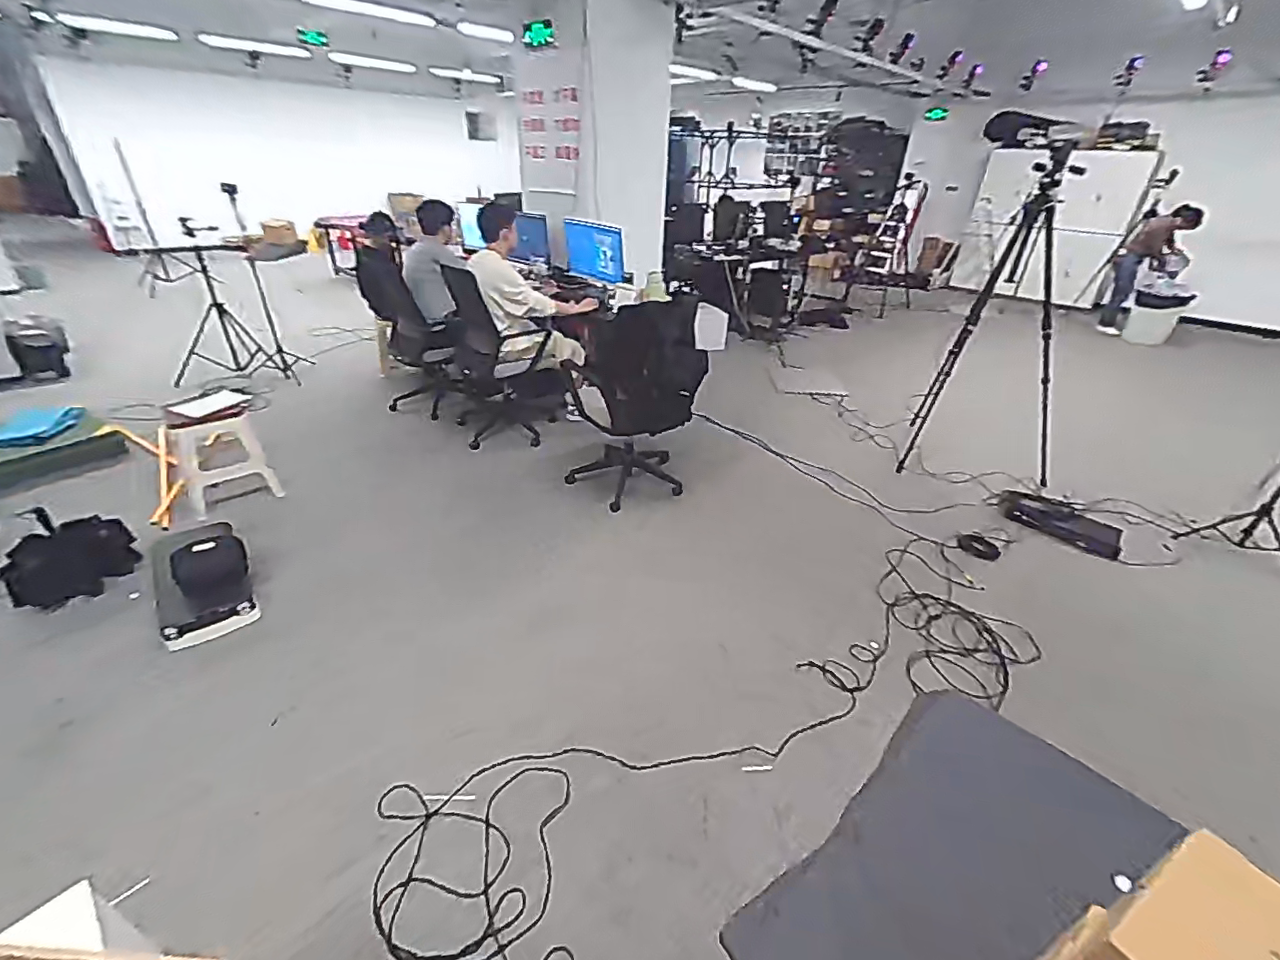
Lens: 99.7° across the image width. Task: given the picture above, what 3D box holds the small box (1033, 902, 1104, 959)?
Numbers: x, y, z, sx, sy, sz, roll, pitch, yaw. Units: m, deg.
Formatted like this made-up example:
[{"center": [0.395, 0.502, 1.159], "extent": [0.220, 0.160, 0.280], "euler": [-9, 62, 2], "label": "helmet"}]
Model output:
[{"center": [0.452, 0.567, 0.506], "extent": [0.168, 0.176, 0.179], "euler": [-17, 35, -31], "label": "small box"}]

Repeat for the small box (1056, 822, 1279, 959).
[{"center": [0.455, 0.427, 0.424], "extent": [0.179, 0.176, 0.168], "euler": [-15, 33, -26], "label": "small box"}]
